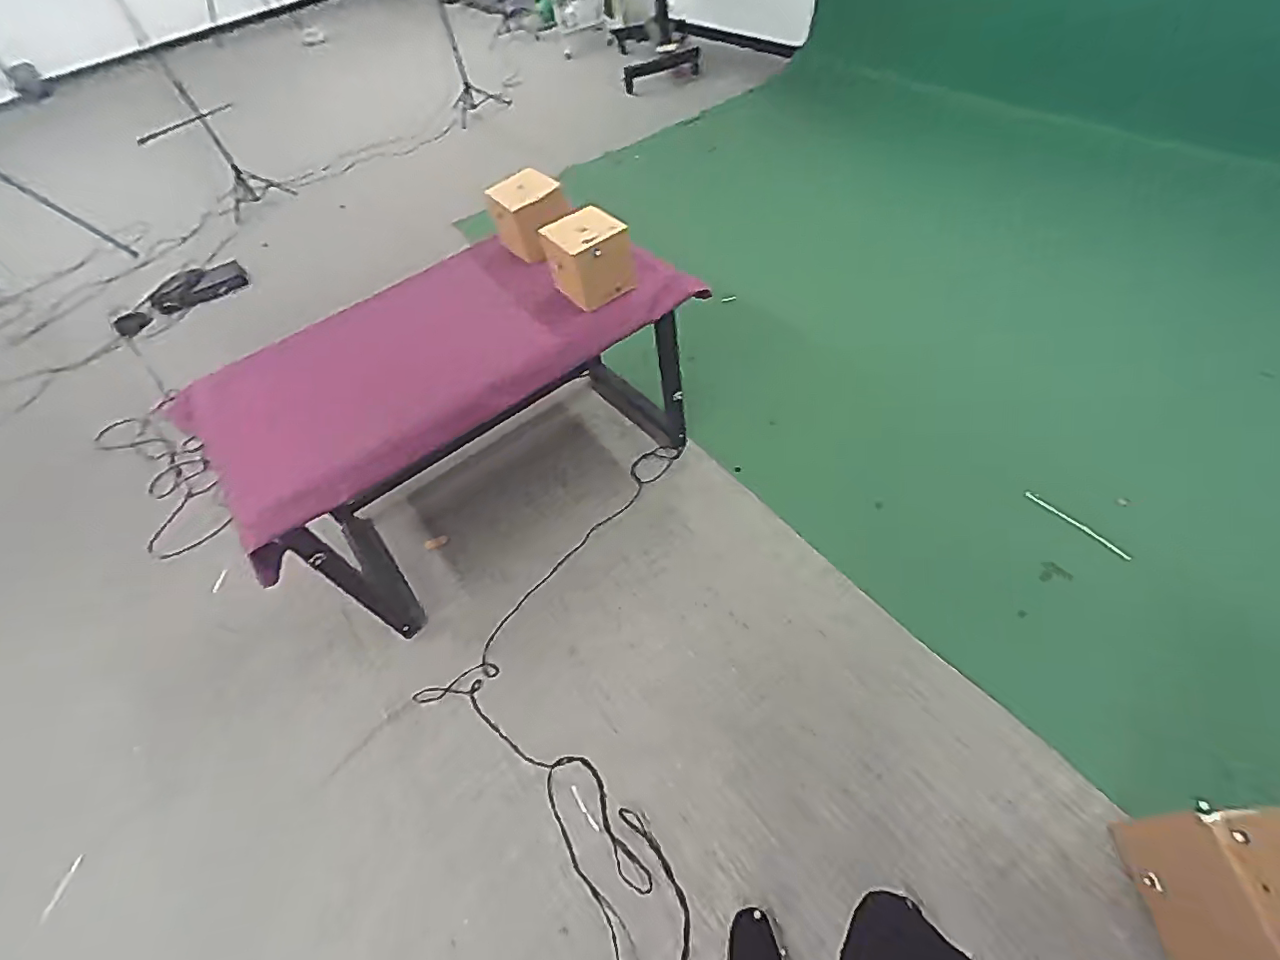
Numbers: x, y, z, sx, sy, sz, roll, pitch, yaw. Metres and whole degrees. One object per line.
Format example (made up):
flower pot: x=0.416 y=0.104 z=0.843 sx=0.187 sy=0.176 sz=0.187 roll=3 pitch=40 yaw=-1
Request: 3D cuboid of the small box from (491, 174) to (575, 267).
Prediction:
small box: x=-0.305 y=-0.760 z=1.591 sx=0.168 sy=0.176 sz=0.179 roll=-36 pitch=57 yaw=-15

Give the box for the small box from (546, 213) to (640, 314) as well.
small box: x=-0.120 y=-0.565 z=1.419 sx=0.168 sy=0.176 sz=0.179 roll=-33 pitch=53 yaw=-15

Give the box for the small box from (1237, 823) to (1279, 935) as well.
small box: x=1.124 y=0.645 z=0.853 sx=0.179 sy=0.176 sz=0.168 roll=-2 pitch=54 yaw=7
